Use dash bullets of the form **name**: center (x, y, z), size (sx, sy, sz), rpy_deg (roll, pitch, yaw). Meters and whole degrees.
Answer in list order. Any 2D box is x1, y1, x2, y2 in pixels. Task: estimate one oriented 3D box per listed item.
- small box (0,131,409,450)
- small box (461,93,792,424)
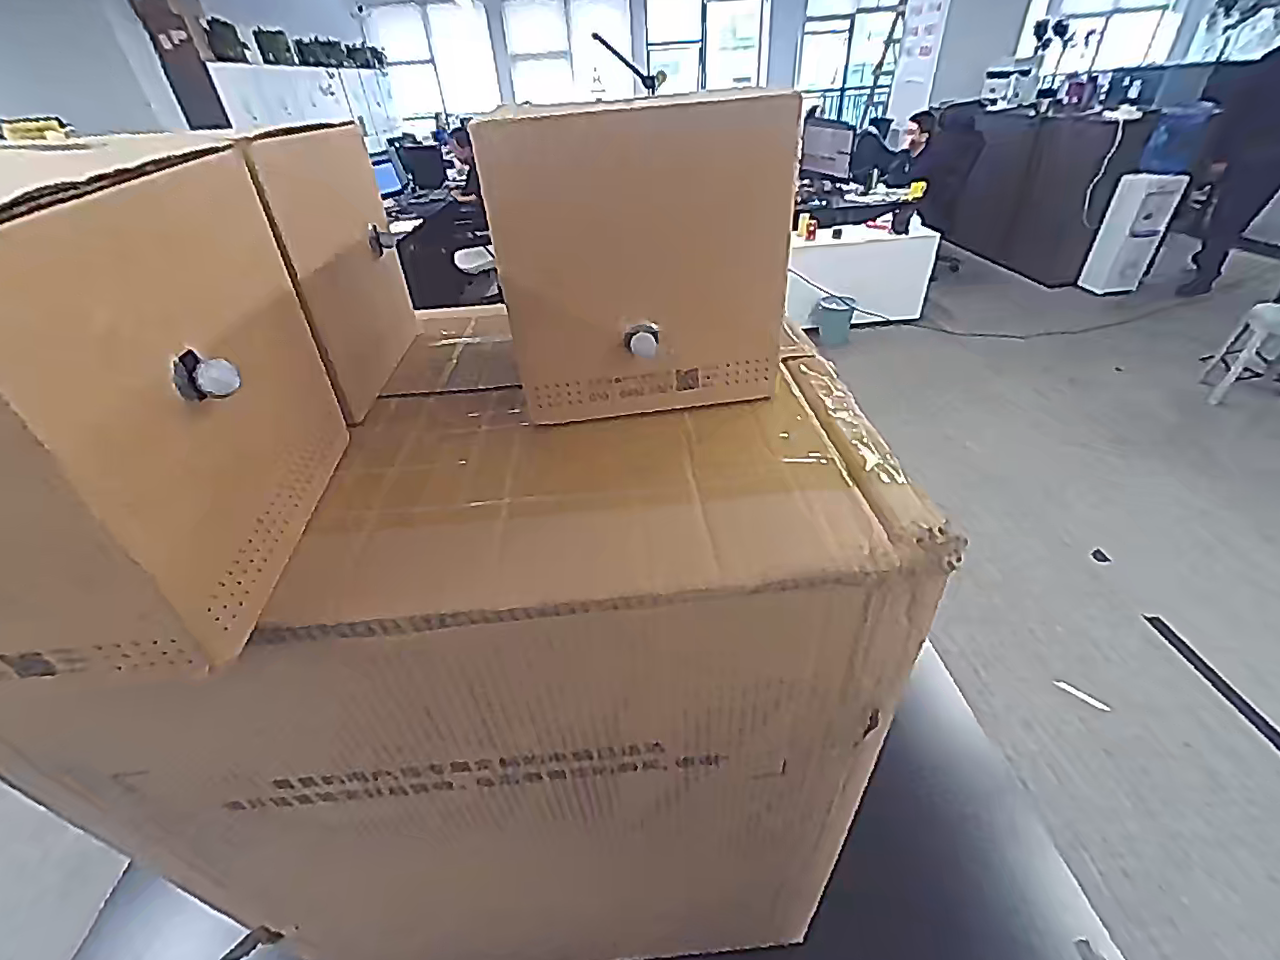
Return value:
- **small box**: center (-0.282, -0.139, 0.384), size (0.168, 0.176, 0.179), rpy_deg (-6, 36, -3)
- **small box**: center (-0.009, -0.157, 0.375), size (0.168, 0.176, 0.179), rpy_deg (-8, 36, -3)
